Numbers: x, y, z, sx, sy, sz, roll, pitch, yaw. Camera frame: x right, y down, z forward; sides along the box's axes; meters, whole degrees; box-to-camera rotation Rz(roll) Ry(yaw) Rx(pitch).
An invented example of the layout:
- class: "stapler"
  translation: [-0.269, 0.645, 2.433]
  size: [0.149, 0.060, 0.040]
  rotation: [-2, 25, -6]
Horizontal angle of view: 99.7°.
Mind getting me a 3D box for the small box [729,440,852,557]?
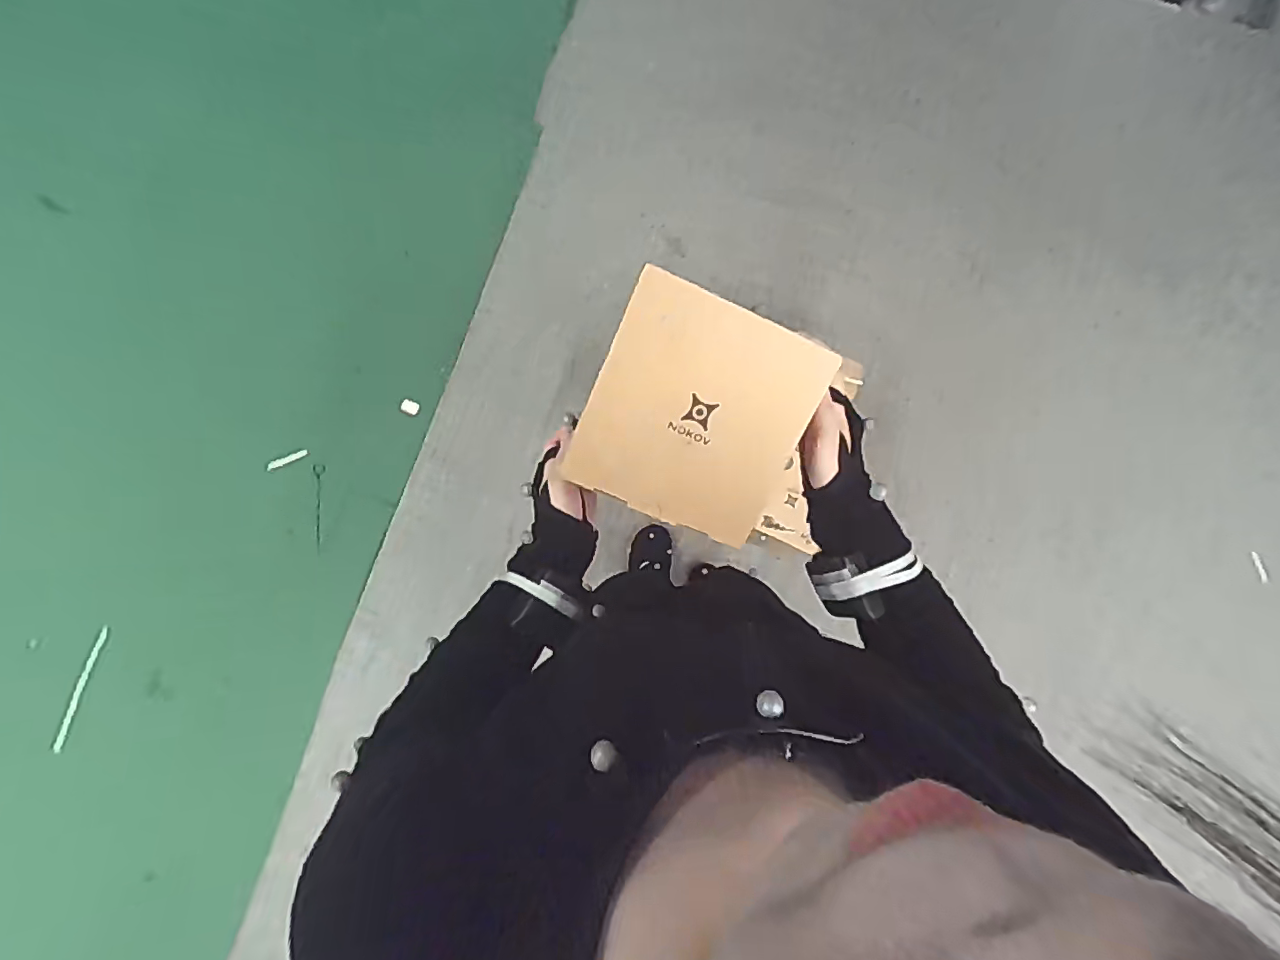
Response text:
- class: "small box"
  translation: [0.296, 0.041, 1.107]
  size: [0.168, 0.176, 0.179]
  rotation: [25, 85, 2]
